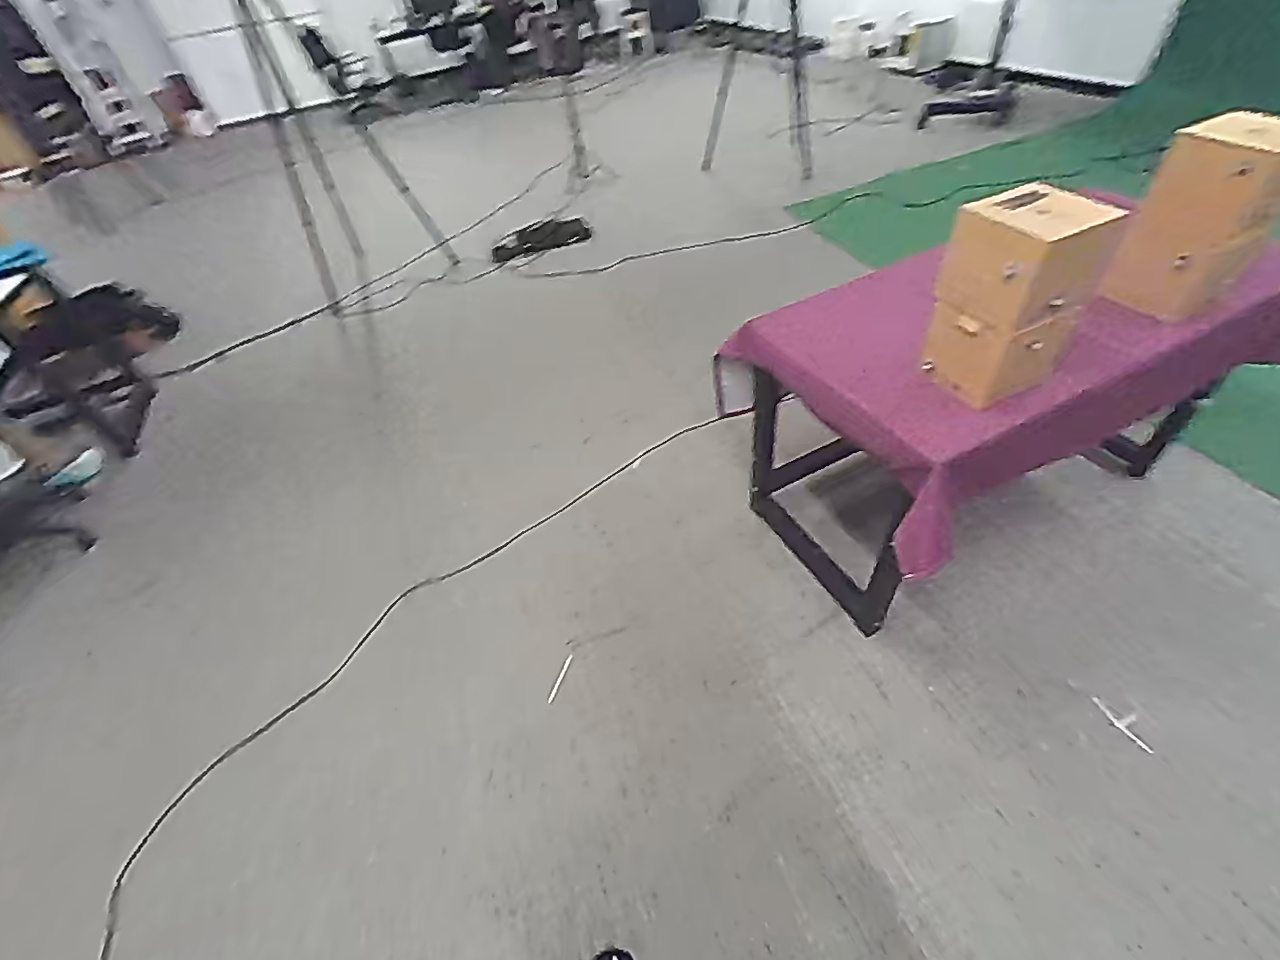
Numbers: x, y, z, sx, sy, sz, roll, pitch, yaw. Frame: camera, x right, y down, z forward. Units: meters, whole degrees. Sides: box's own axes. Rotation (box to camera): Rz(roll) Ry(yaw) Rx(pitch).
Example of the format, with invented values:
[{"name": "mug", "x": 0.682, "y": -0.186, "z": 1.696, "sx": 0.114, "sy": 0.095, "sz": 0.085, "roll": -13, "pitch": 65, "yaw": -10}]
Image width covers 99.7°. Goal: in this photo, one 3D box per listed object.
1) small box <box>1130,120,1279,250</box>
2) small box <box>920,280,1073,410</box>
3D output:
[{"name": "small box", "x": 1.140, "y": -0.579, "z": 1.065, "sx": 0.168, "sy": 0.176, "sz": 0.179, "roll": -23, "pitch": 49, "yaw": -12}, {"name": "small box", "x": 0.685, "y": -0.264, "z": 1.069, "sx": 0.179, "sy": 0.176, "sz": 0.168, "roll": -23, "pitch": 48, "yaw": -13}]
